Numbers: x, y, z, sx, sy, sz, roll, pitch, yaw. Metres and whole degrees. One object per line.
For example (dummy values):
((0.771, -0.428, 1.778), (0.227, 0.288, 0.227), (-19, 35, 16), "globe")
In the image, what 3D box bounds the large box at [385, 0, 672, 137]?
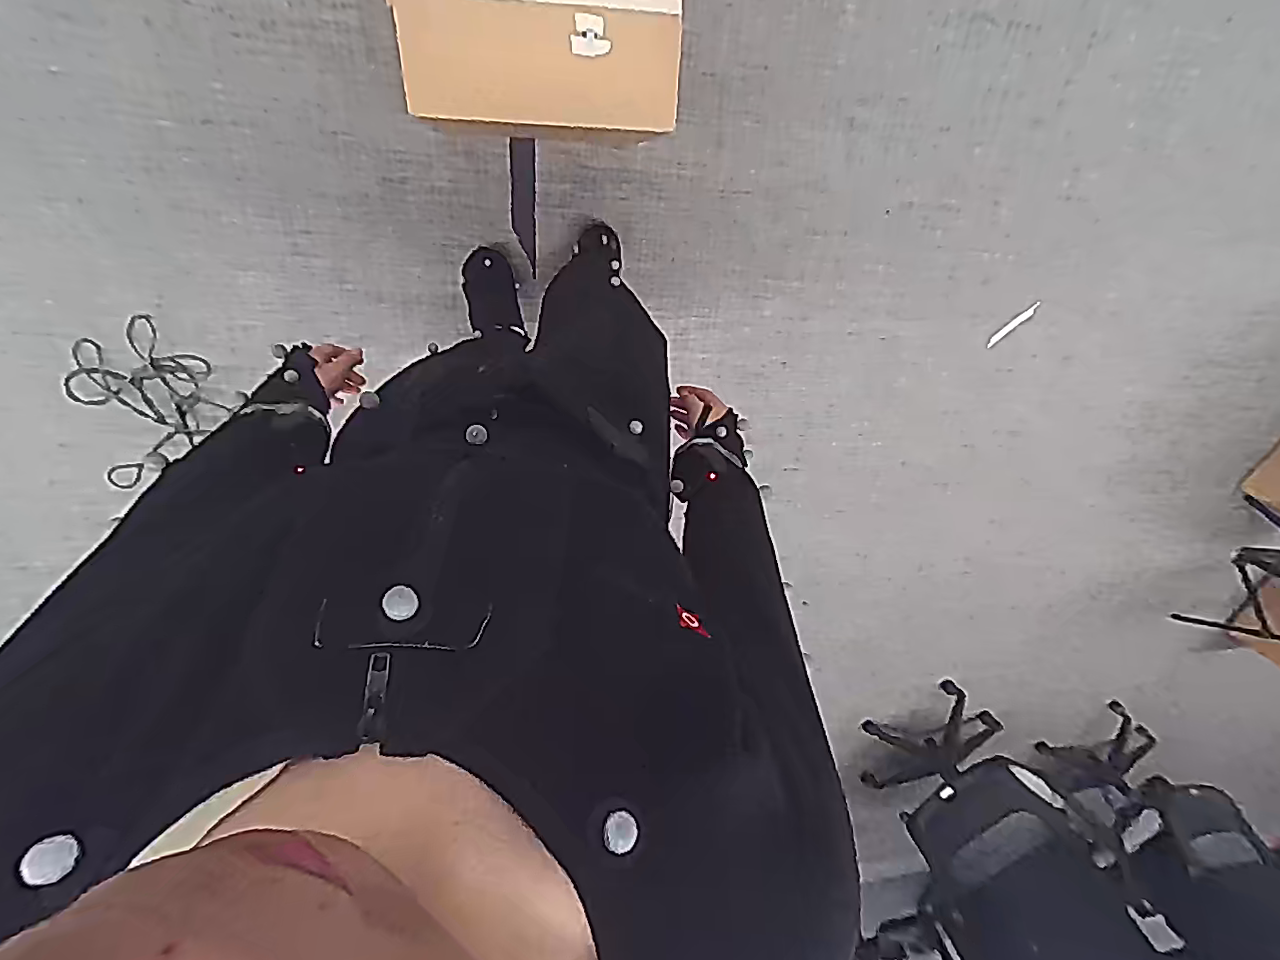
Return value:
((-0.177, -0.750, 0.872), (0.408, 0.320, 0.320), (-4, 120, -11), "large box")
